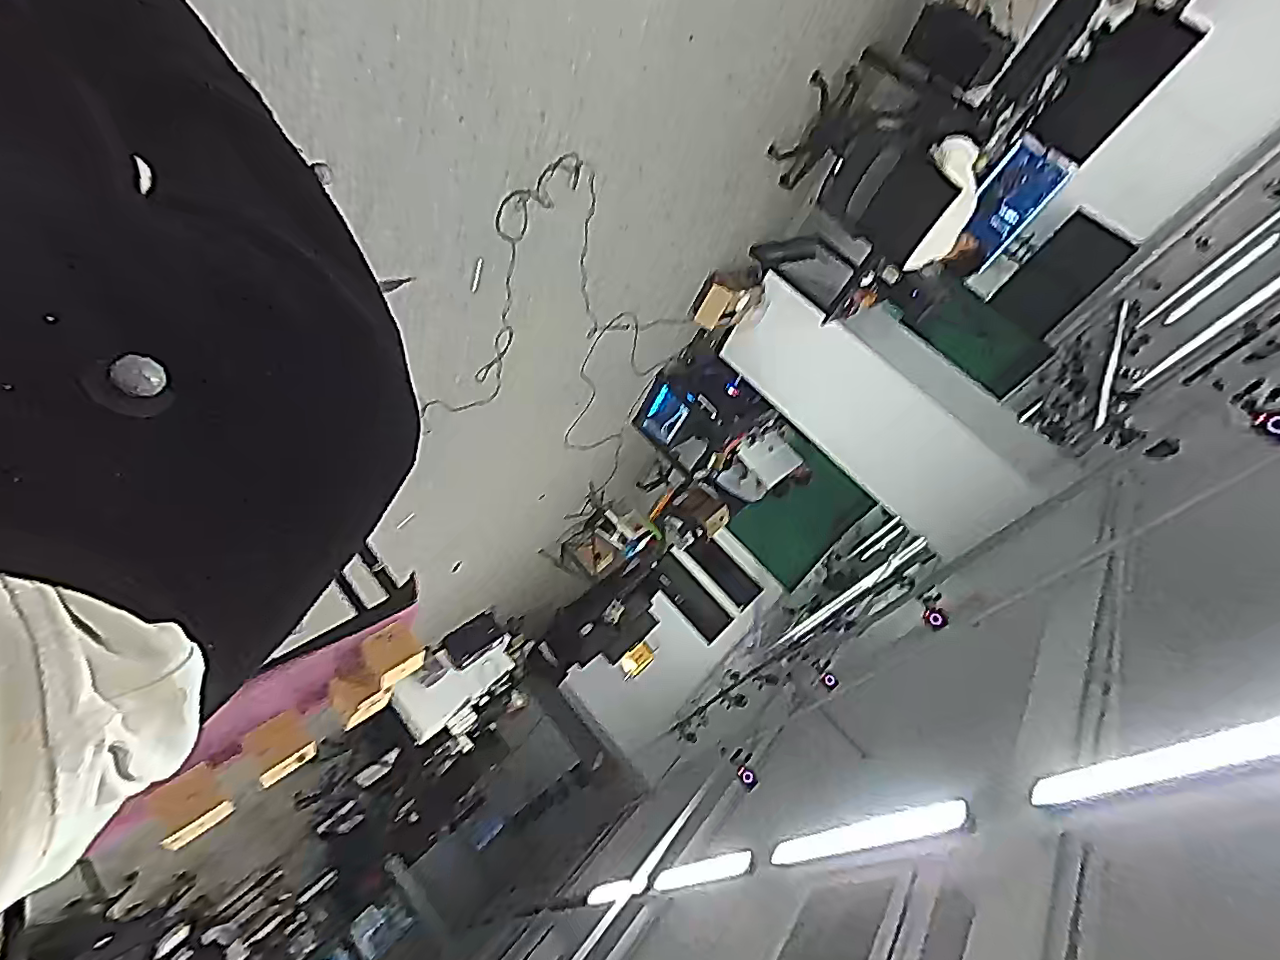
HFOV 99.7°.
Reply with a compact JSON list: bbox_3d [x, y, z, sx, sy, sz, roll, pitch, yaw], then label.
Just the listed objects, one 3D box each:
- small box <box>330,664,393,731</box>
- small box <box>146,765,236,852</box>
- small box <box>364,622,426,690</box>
[{"bbox_3d":[-1.142,0.879,2.210,0.168,0.176,0.179,-26,157,-48],"label":"small box"},{"bbox_3d":[-1.524,1.114,1.842,0.179,0.176,0.168,-31,158,-44],"label":"small box"},{"bbox_3d":[-0.972,0.693,2.139,0.168,0.176,0.179,-29,159,-39],"label":"small box"}]
